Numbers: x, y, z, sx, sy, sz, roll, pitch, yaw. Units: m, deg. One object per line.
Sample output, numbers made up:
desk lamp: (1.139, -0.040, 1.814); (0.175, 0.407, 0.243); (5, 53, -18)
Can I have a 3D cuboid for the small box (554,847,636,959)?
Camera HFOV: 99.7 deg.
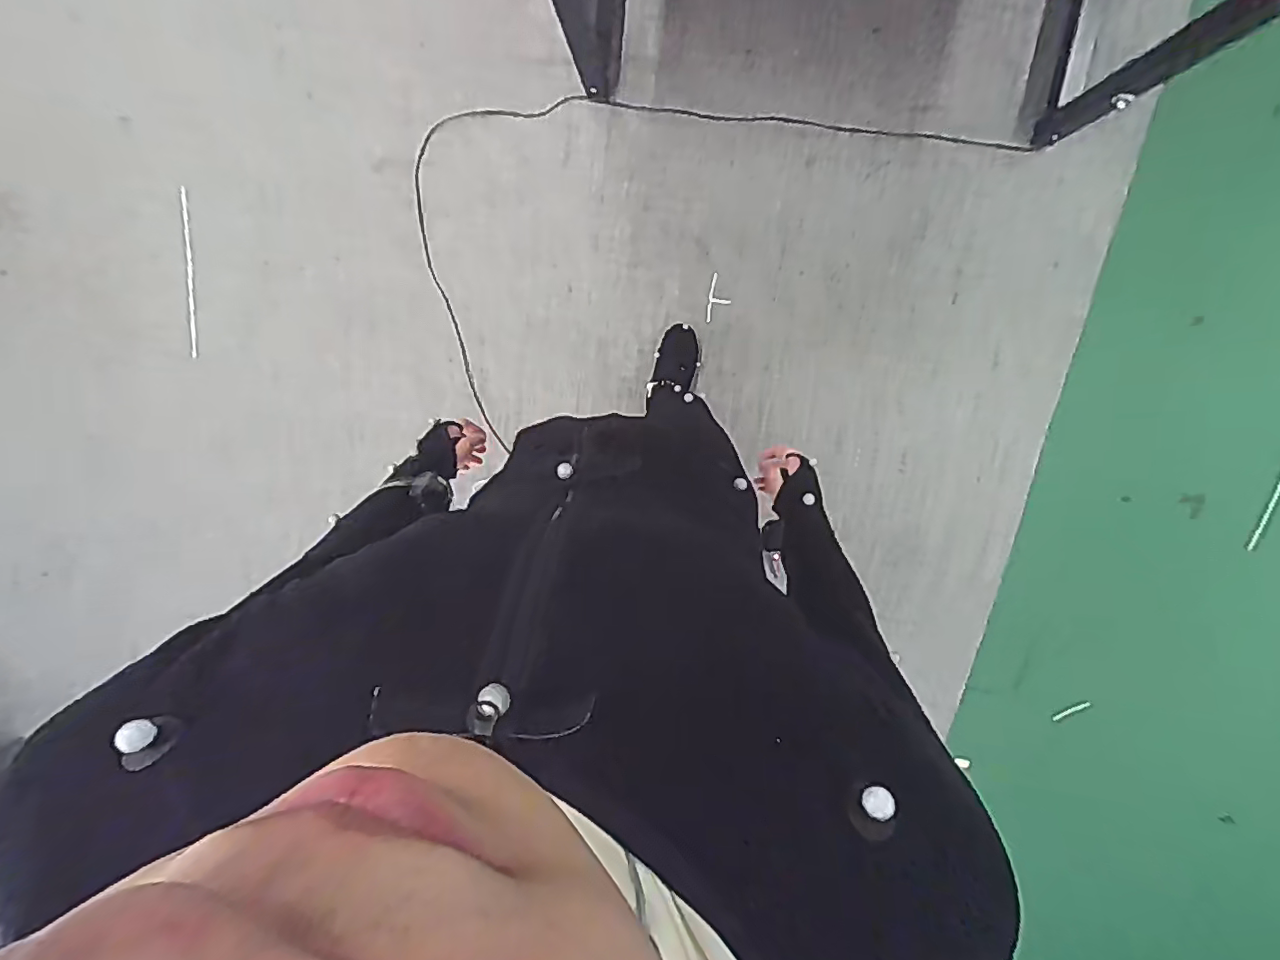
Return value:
small box: (-0.109, 1.098, 1.387); (0.168, 0.176, 0.179); (12, 102, 2)
